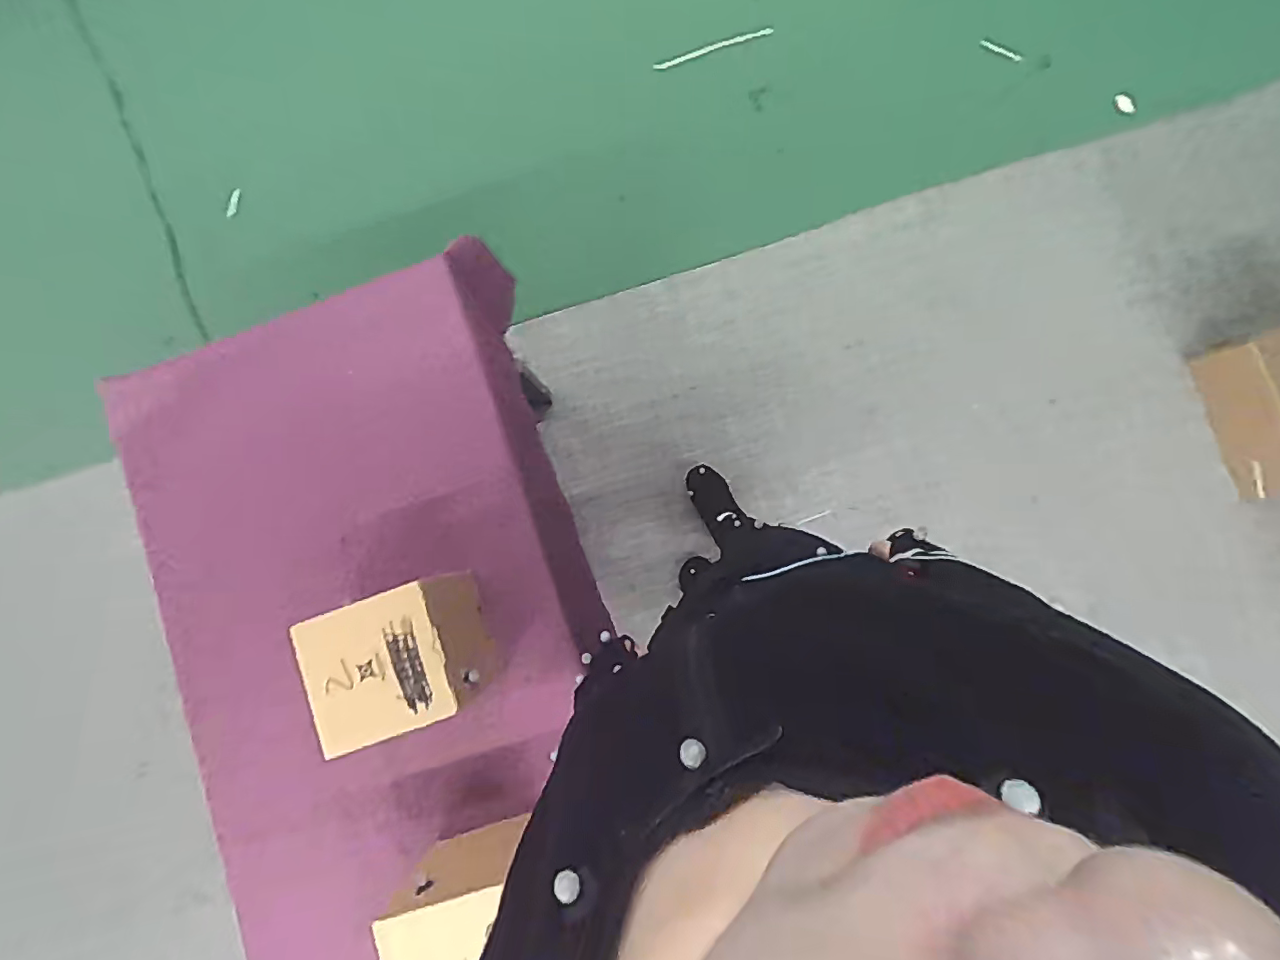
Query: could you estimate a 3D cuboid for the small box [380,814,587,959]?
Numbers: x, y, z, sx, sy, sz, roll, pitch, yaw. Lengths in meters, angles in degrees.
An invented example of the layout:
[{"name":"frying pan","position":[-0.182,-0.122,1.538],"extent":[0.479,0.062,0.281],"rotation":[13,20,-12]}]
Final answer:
[{"name":"small box","position":[-0.183,0.561,0.677],"extent":[0.179,0.176,0.168],"rotation":[-20,83,3]}]
